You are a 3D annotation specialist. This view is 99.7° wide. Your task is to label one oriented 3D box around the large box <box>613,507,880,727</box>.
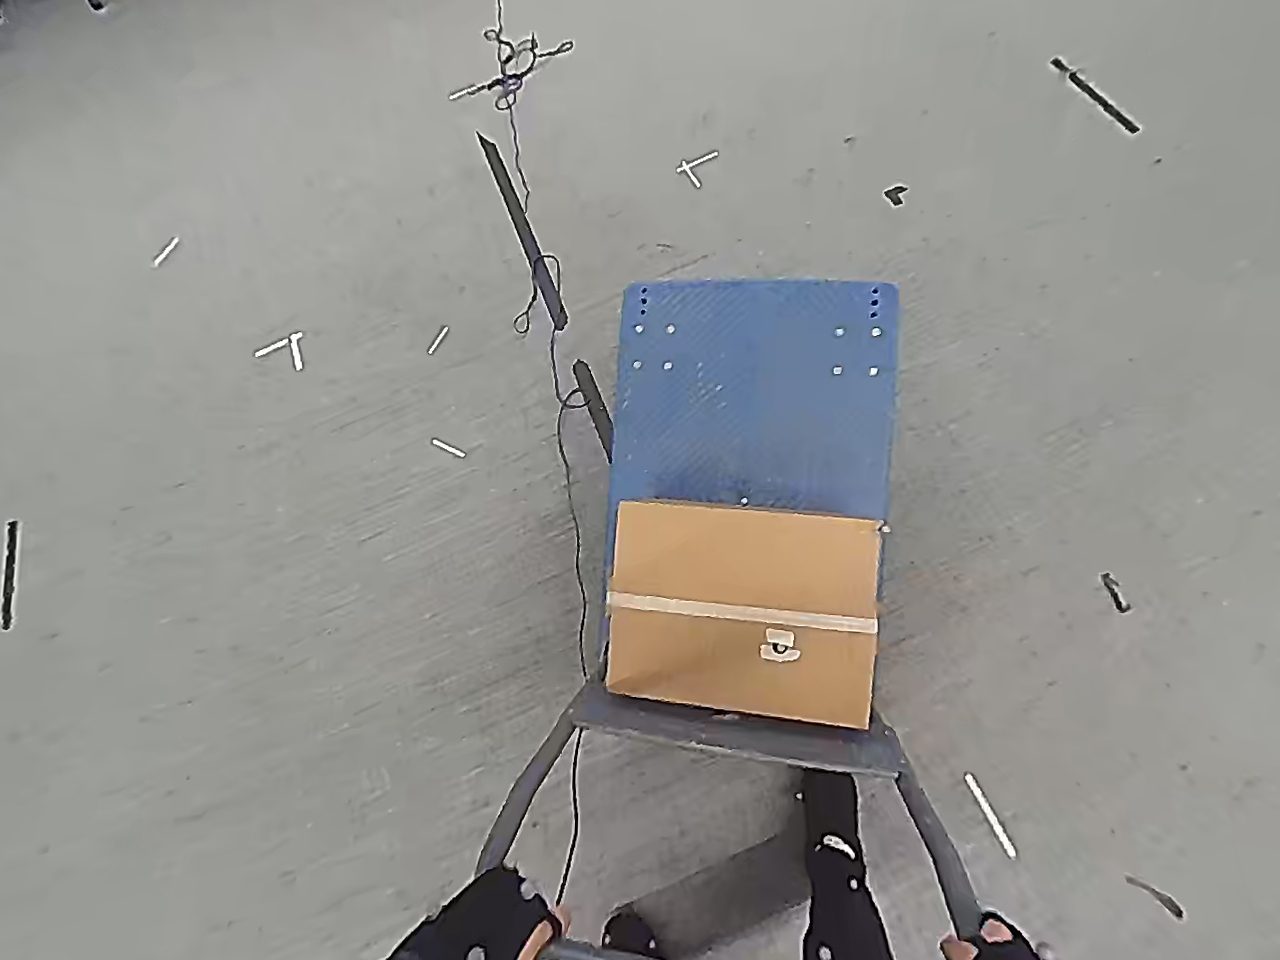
[{"bbox_3d":[0.182,0.213,0.993,0.408,0.320,0.320,4,90,10],"label":"large box"}]
